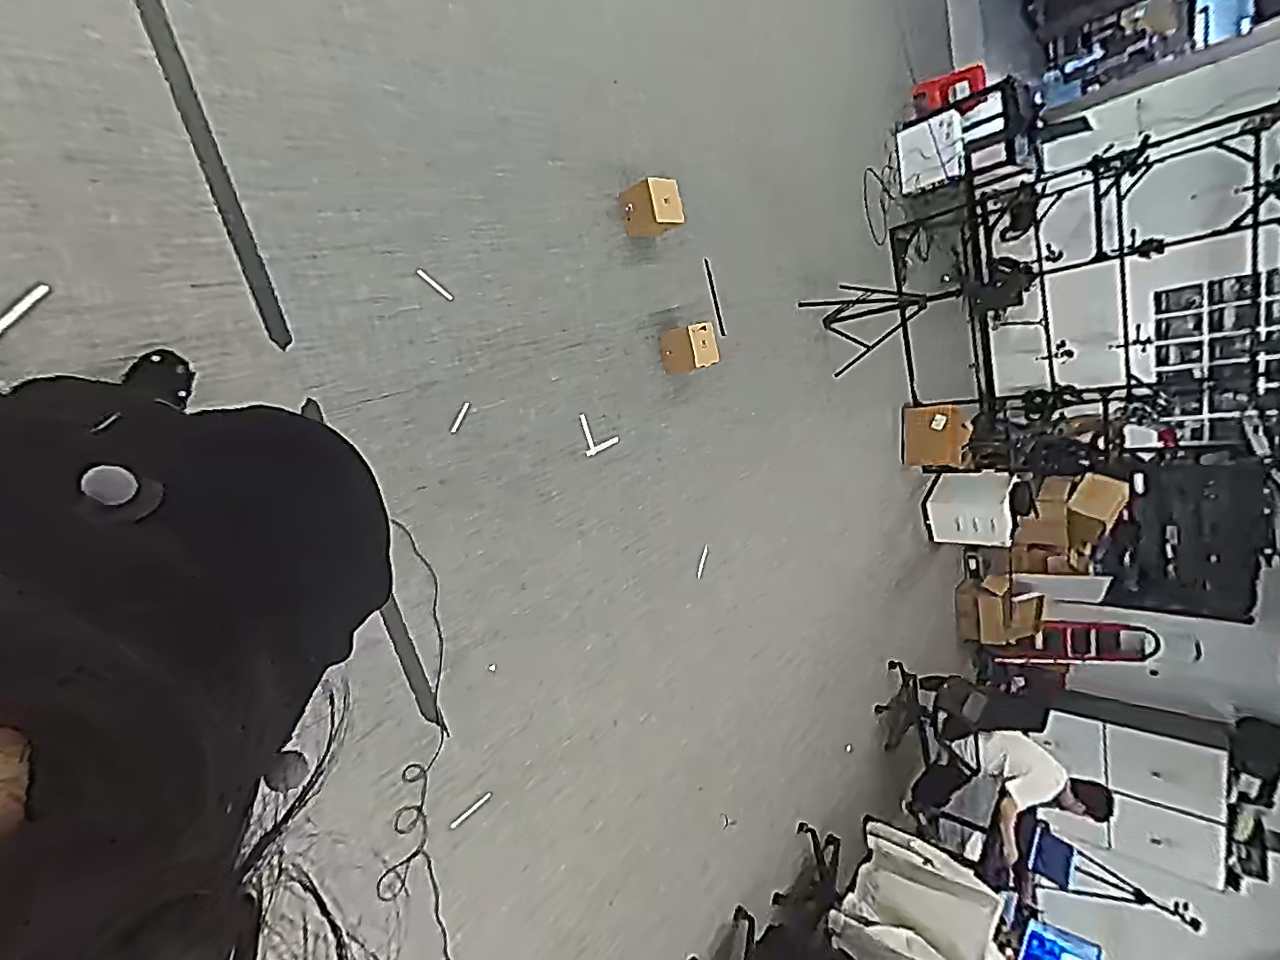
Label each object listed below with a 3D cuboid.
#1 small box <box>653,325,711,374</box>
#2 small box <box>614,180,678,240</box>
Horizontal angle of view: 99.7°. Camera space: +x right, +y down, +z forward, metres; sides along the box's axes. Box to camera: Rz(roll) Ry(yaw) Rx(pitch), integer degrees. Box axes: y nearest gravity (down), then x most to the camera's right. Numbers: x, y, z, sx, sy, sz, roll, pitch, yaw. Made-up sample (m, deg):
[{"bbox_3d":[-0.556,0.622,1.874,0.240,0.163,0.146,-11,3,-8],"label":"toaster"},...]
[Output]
[{"bbox_3d":[0.178,-0.554,2.314,0.168,0.176,0.179,-24,108,-43],"label":"small box"},{"bbox_3d":[0.024,-1.075,2.166,0.179,0.176,0.168,-24,105,-42],"label":"small box"}]
